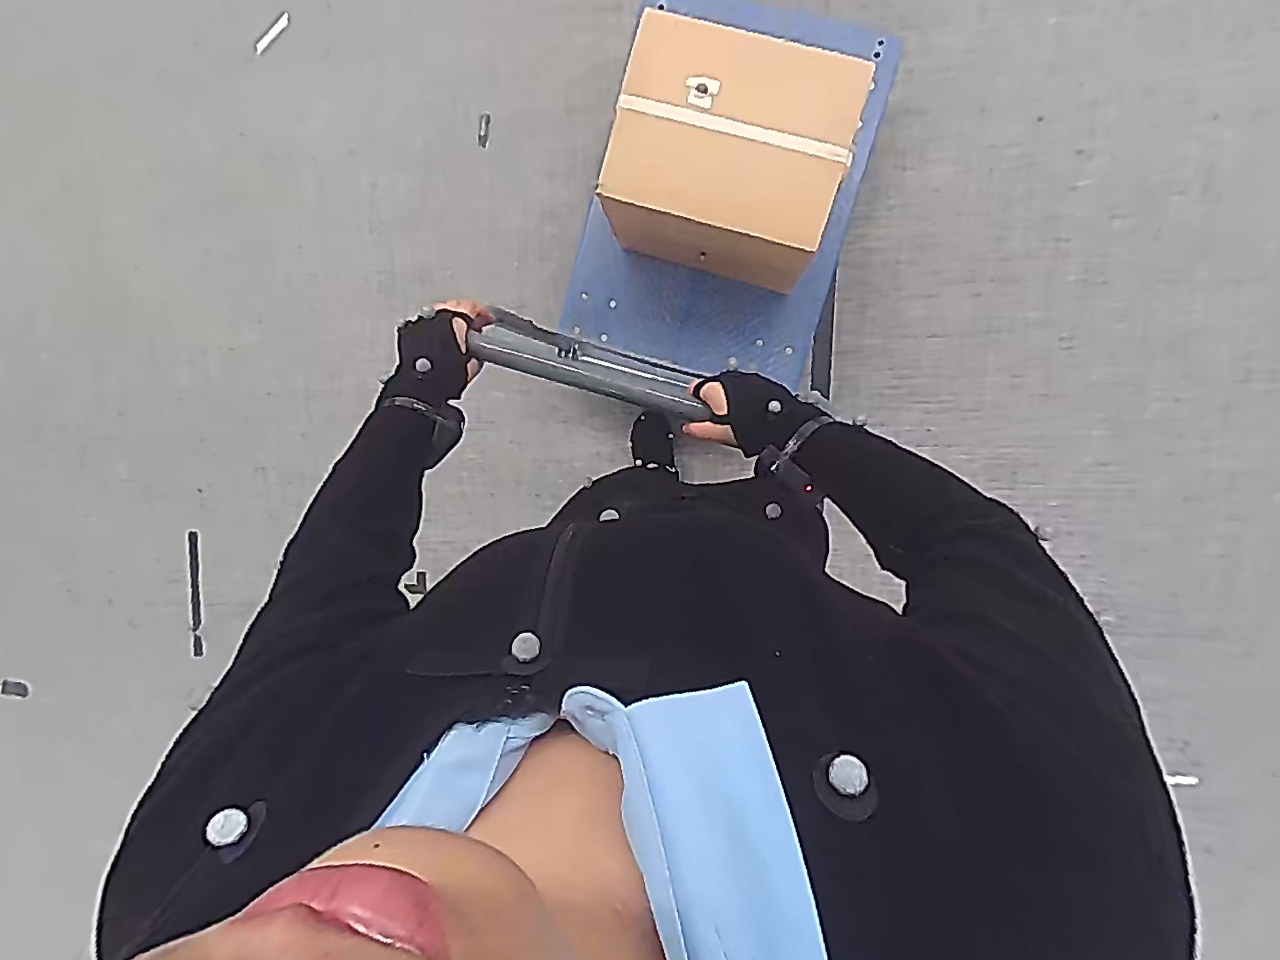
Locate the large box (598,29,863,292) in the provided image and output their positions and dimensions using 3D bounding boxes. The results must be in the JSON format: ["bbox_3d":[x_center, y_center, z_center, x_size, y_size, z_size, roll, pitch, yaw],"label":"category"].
[{"bbox_3d":[0.171,-0.609,1.095,0.408,0.320,0.320,17,96,5],"label":"large box"}]
